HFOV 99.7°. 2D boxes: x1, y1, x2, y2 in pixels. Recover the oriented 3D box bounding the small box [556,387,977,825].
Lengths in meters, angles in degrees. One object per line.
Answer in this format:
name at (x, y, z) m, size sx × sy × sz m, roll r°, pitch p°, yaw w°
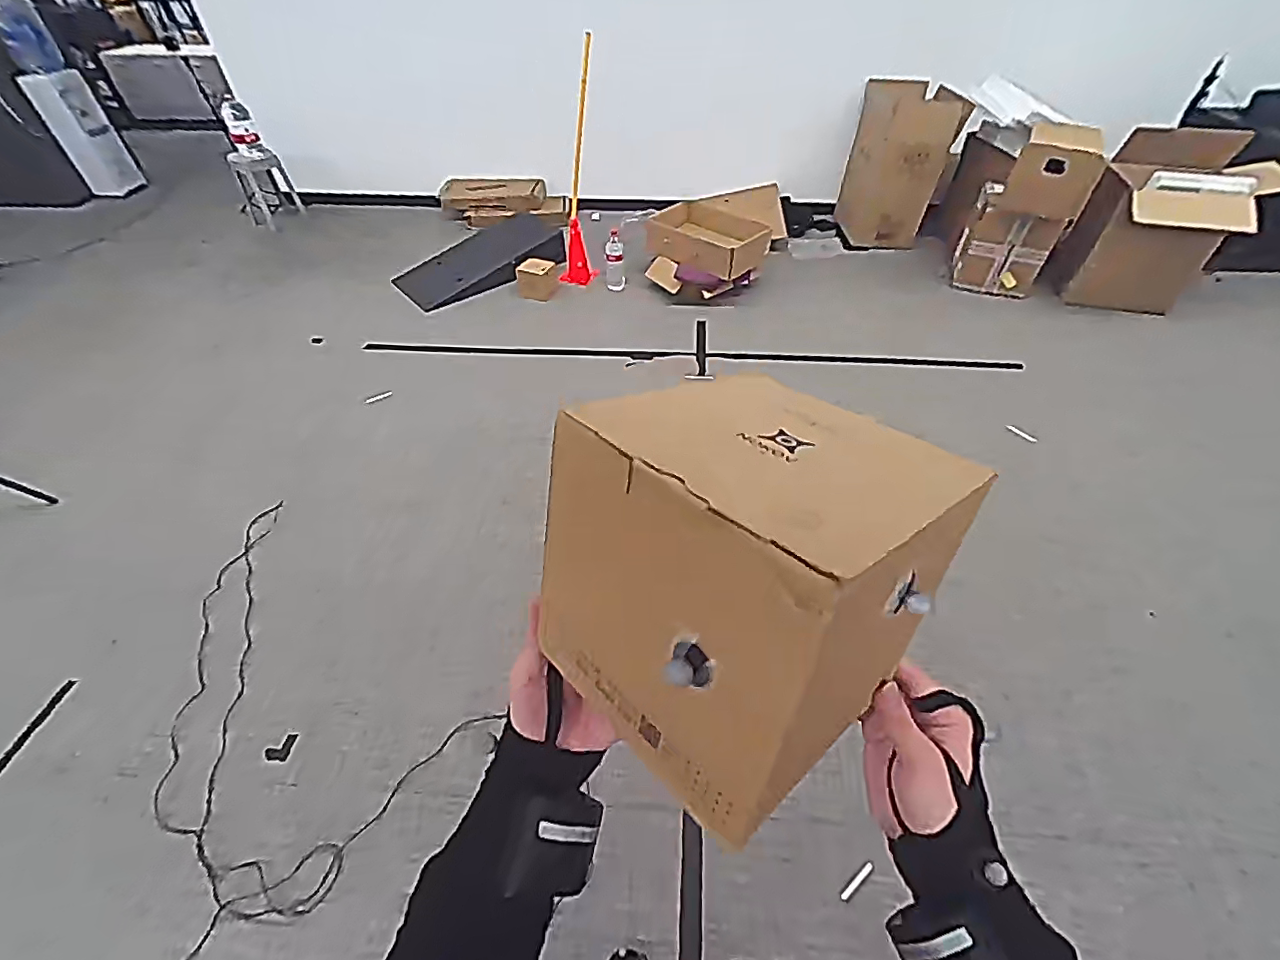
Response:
small box at (0.061, 0.057, 0.331) m, size 0.179 × 0.176 × 0.168 m, roll -17°, pitch 38°, yaw -41°
